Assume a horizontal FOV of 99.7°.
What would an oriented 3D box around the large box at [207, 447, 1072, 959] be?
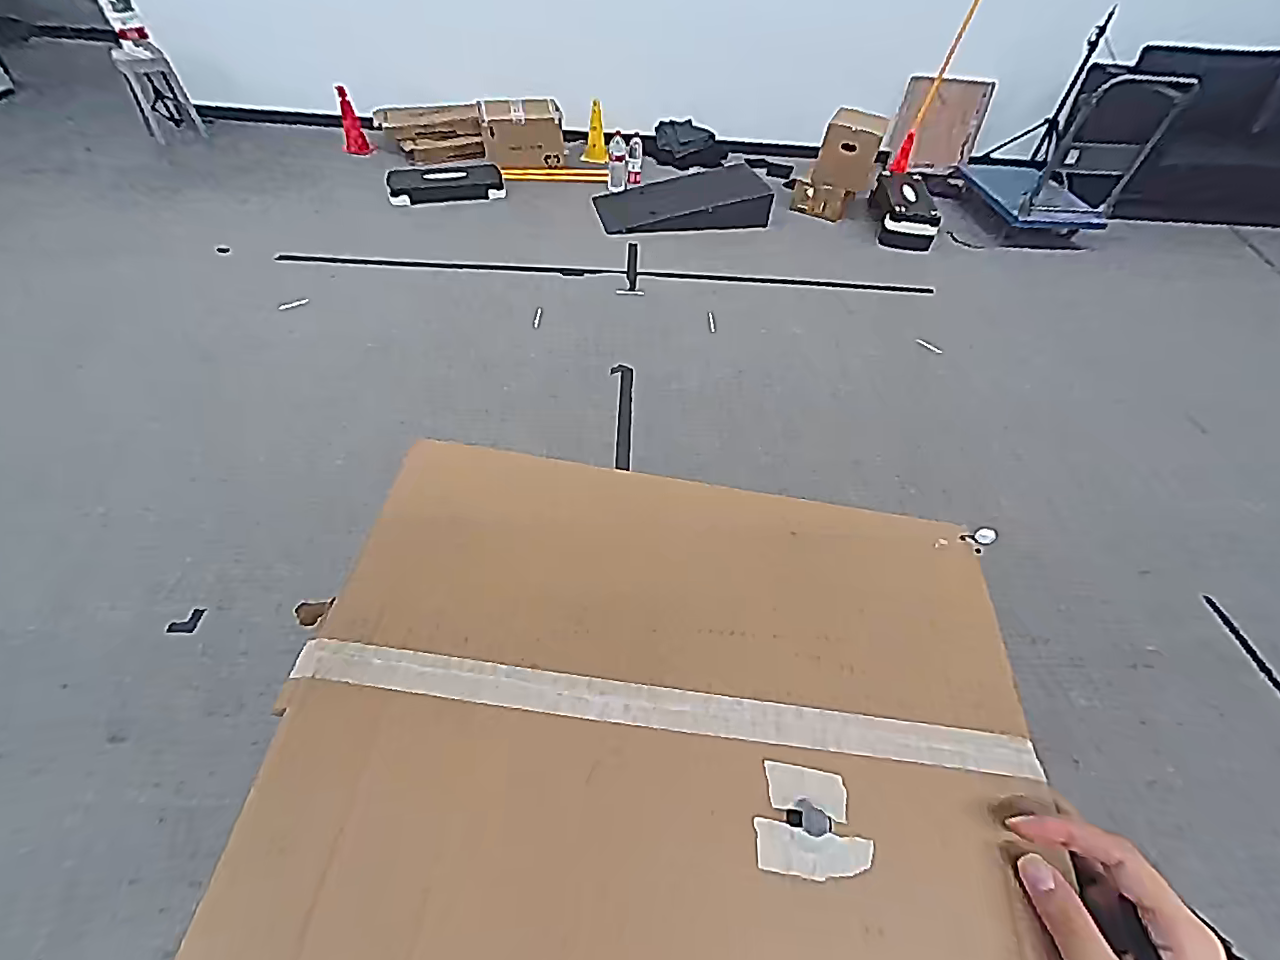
[{"bbox_3d":[0.005,0.213,0.431,0.408,0.320,0.320,10,55,-3],"label":"large box"}]
